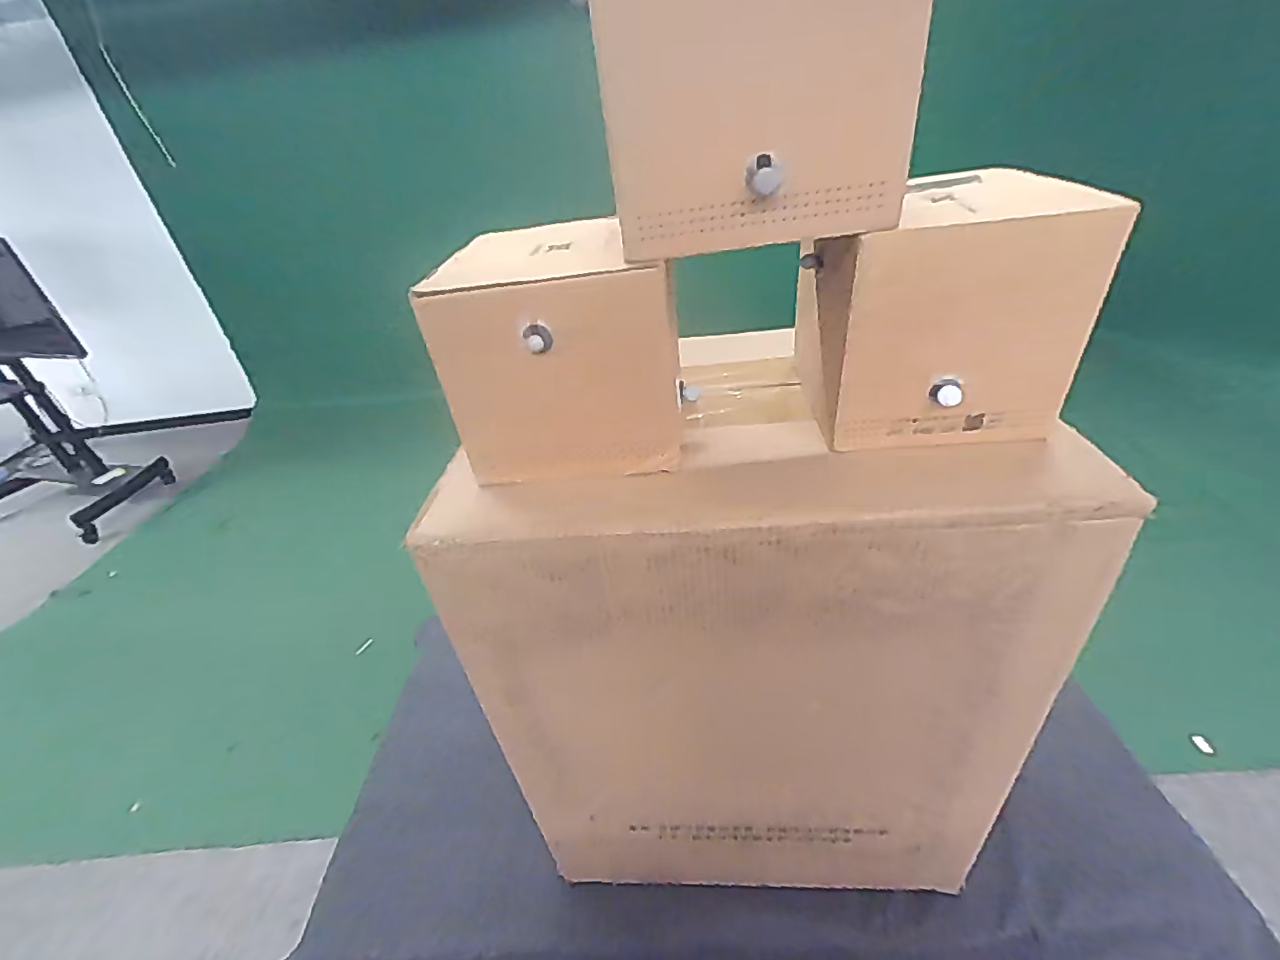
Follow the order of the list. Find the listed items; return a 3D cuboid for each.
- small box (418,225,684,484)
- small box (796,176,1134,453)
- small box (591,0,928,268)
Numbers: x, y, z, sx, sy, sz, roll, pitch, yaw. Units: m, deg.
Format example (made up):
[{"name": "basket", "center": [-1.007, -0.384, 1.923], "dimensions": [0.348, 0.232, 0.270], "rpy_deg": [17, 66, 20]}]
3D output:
[{"name": "small box", "center": [-0.054, -0.108, 0.467], "dimensions": [0.179, 0.176, 0.168], "rpy_deg": [-2, 37, 5]}, {"name": "small box", "center": [0.230, -0.139, 0.448], "dimensions": [0.168, 0.176, 0.179], "rpy_deg": [-3, 37, 6]}, {"name": "small box", "center": [0.066, -0.255, 0.362], "dimensions": [0.179, 0.176, 0.168], "rpy_deg": [-6, 36, 3]}]
